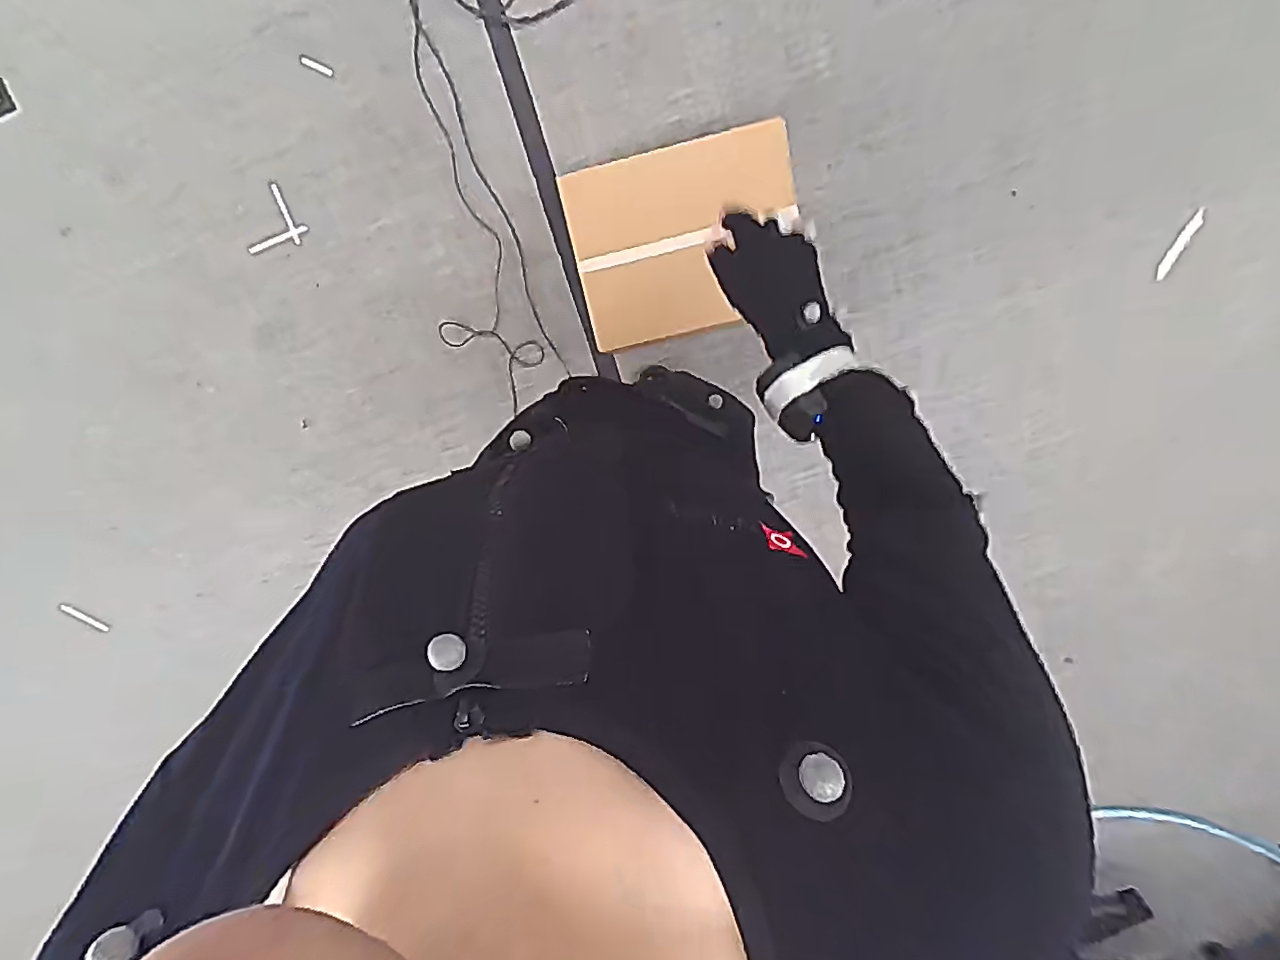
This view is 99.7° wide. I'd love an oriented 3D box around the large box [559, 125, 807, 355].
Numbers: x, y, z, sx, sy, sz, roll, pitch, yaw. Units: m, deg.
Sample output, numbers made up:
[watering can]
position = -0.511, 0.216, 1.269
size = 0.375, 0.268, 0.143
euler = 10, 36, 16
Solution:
[large box]
position = 0.086, -0.459, 1.121
size = 0.408, 0.320, 0.320
euler = -12, 101, 4
